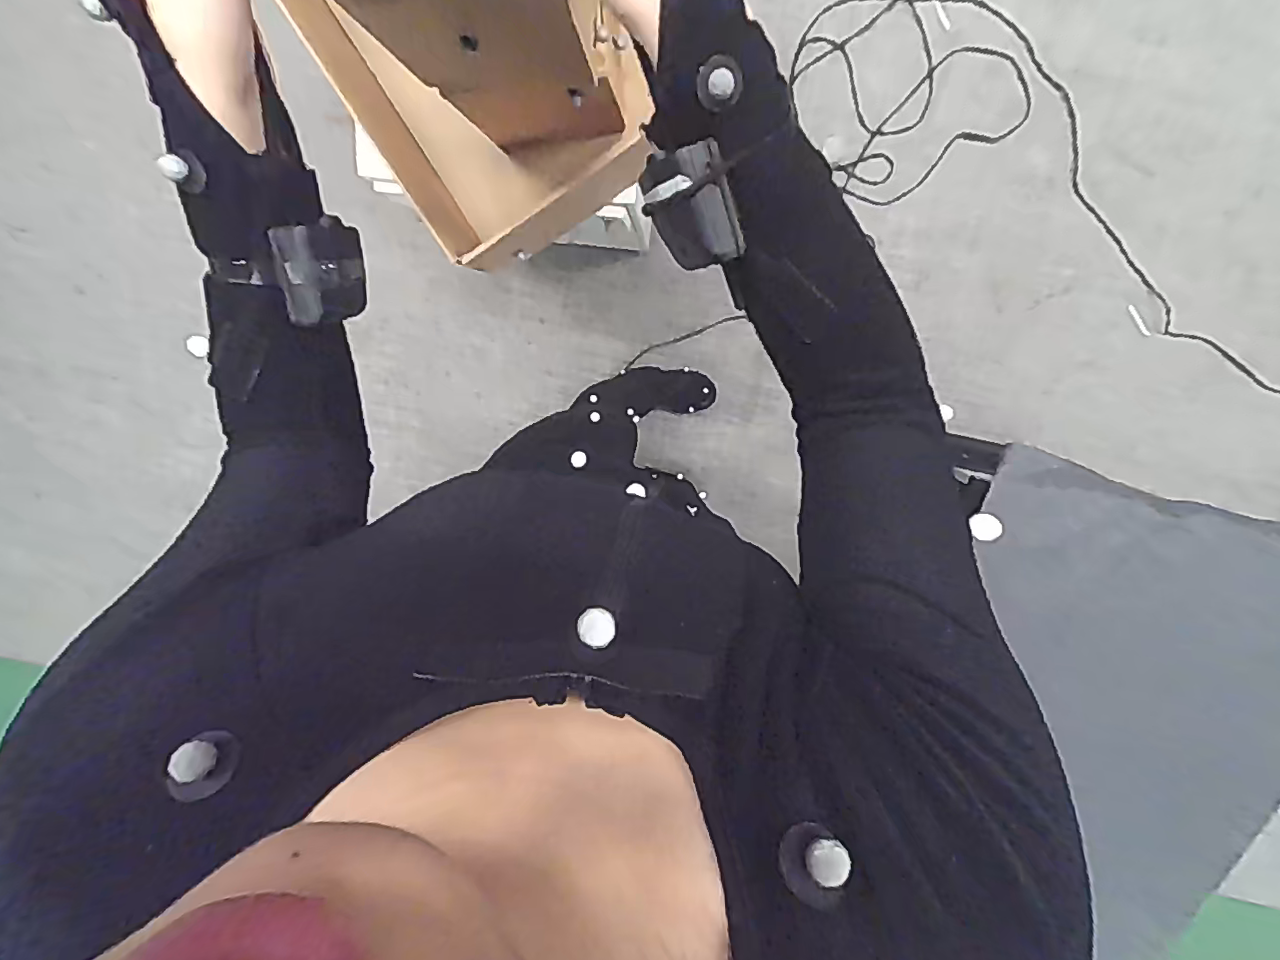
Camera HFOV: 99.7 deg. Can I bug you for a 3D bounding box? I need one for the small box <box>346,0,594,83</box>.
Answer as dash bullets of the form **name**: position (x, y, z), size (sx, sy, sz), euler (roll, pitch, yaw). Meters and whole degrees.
- **small box**: position (-0.131, -0.453, 0.439), size (0.179, 0.176, 0.168), euler (3, 106, 4)
